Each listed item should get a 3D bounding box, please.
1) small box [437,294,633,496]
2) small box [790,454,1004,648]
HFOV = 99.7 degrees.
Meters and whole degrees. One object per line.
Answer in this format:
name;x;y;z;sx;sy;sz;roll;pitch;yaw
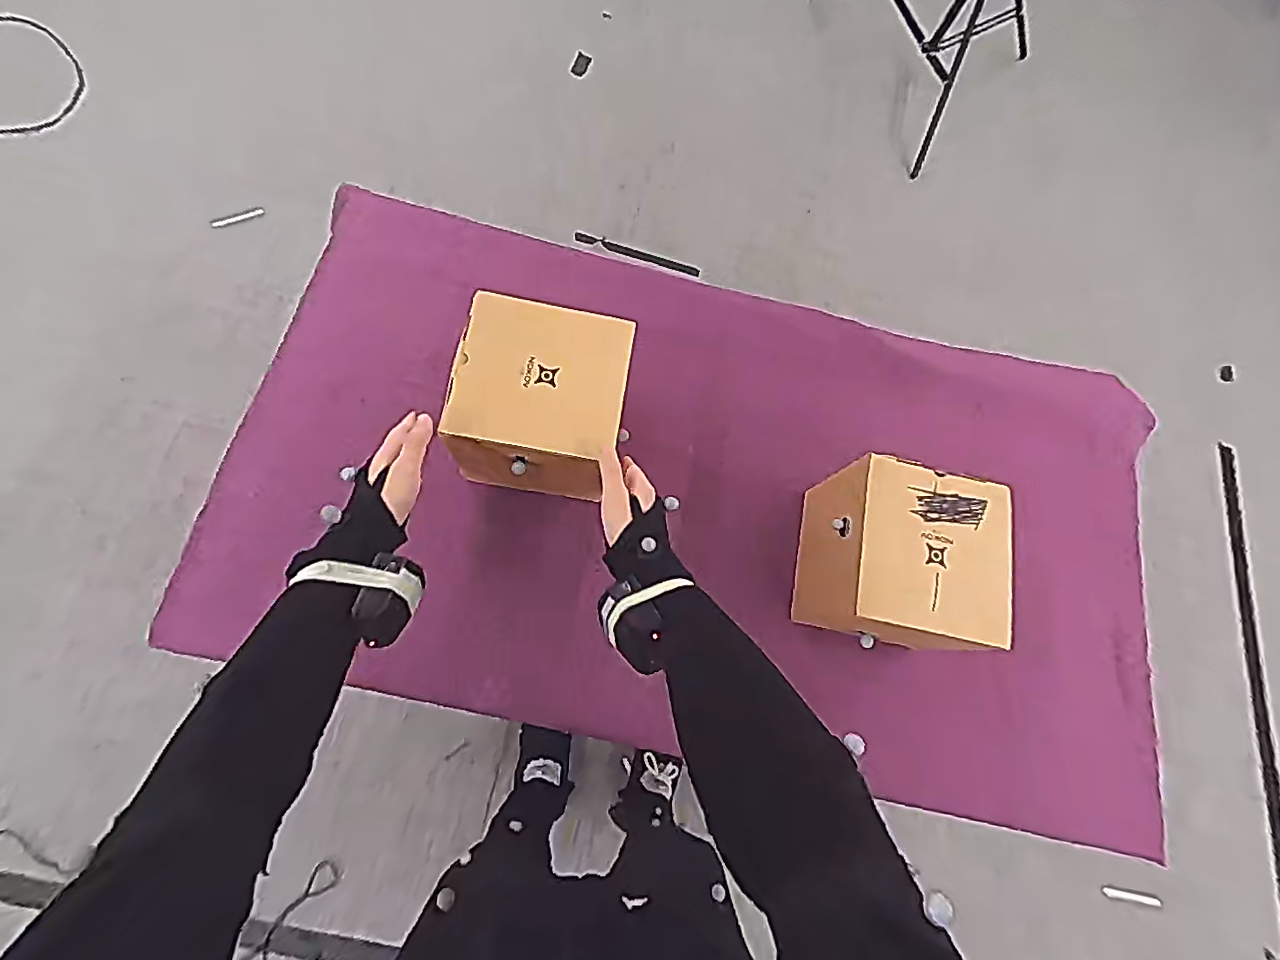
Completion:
small box;-0.114;-0.085;0.636;0.179;0.176;0.168;10;73;-5
small box;0.291;0.092;0.640;0.168;0.176;0.179;13;73;-4
